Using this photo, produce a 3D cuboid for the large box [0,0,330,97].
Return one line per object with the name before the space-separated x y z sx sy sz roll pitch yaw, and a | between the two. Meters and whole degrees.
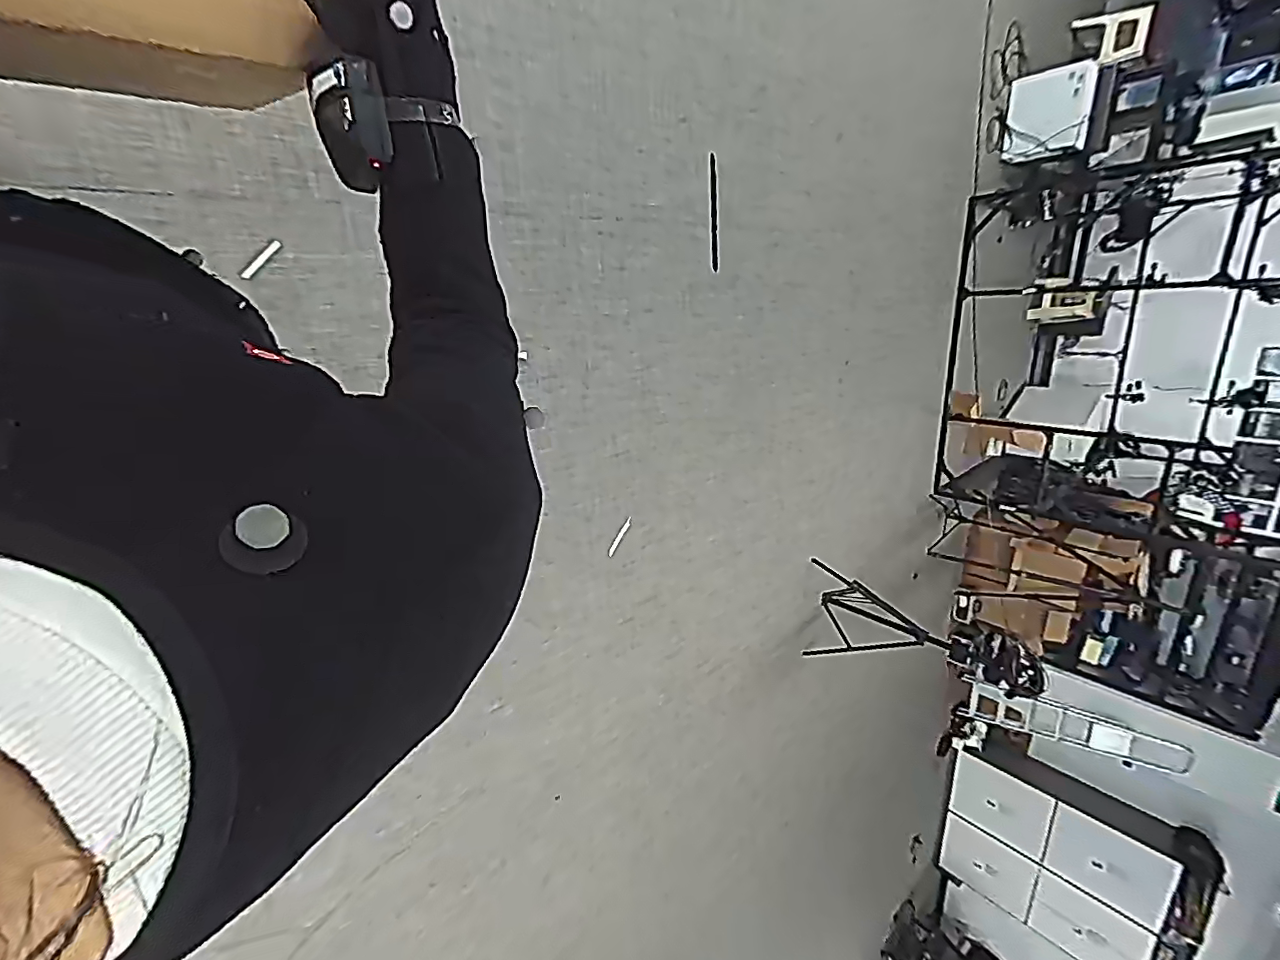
large box | -0.445 -0.412 0.266 0.408 0.320 0.320 -20 127 -38
